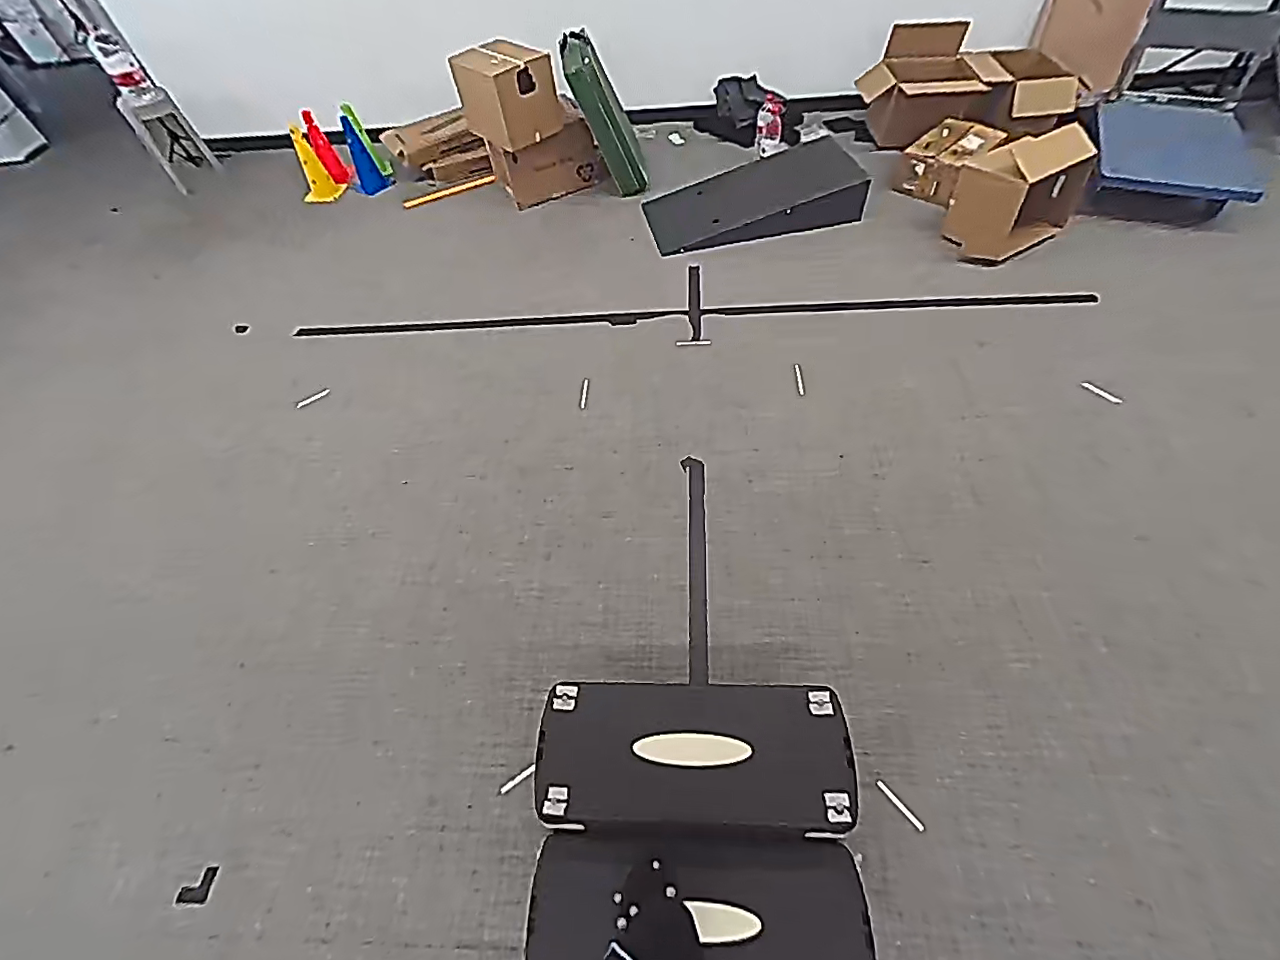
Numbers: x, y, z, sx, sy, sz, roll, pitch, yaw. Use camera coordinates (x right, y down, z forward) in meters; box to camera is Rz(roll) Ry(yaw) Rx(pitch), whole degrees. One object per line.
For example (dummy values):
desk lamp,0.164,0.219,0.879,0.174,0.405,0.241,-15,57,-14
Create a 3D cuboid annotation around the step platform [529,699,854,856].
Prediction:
step platform,0.104,0.650,1.194,0.684,0.204,0.286,-1,54,3
